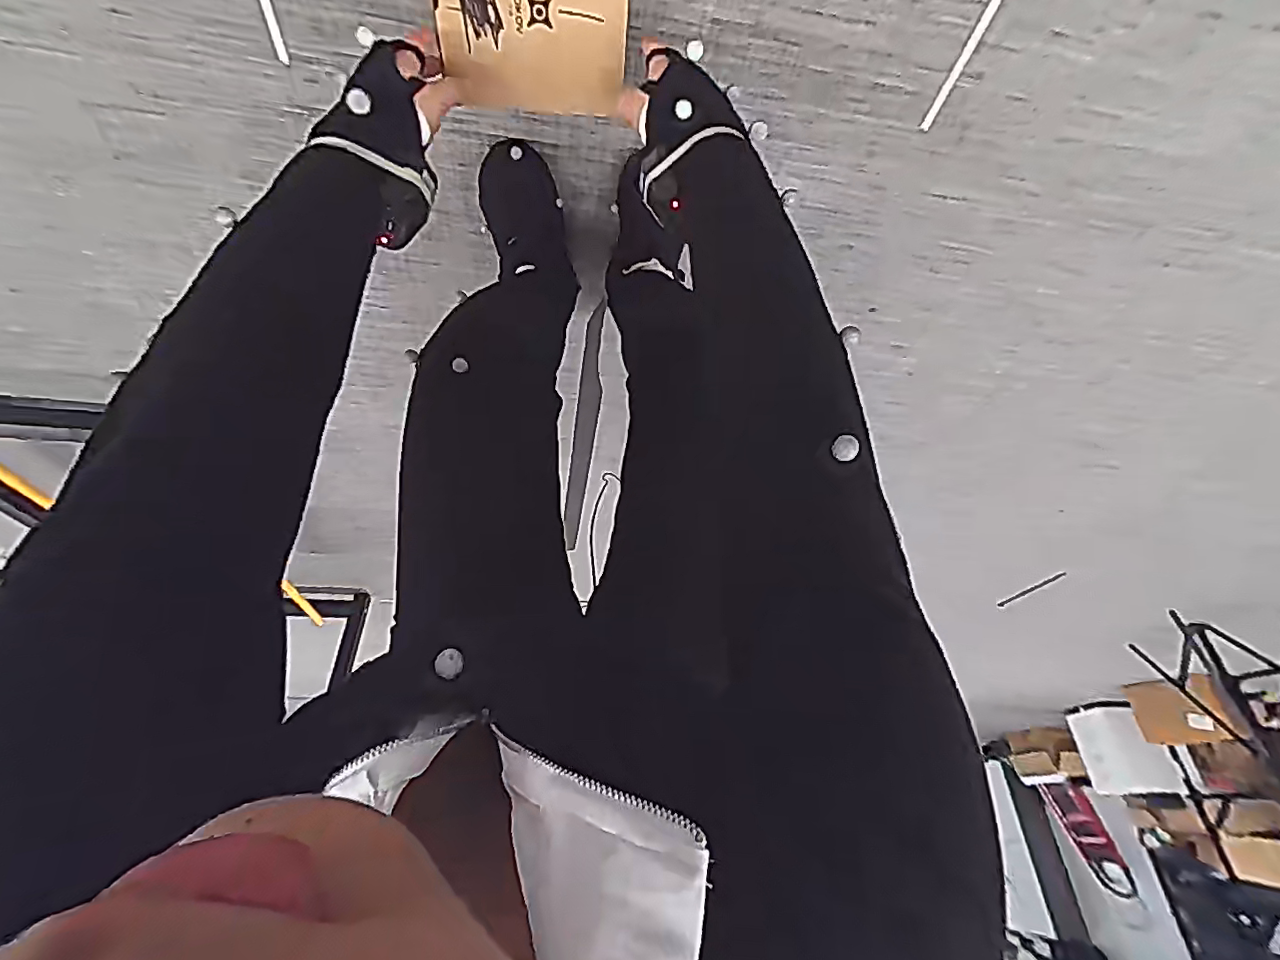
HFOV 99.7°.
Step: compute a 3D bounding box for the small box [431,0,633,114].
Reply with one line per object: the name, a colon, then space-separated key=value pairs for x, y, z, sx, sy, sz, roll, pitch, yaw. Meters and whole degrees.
small box: x=-0.094 y=-0.482 z=0.510 sx=0.179 sy=0.176 sz=0.168 roll=2 pitch=148 yaw=-5
